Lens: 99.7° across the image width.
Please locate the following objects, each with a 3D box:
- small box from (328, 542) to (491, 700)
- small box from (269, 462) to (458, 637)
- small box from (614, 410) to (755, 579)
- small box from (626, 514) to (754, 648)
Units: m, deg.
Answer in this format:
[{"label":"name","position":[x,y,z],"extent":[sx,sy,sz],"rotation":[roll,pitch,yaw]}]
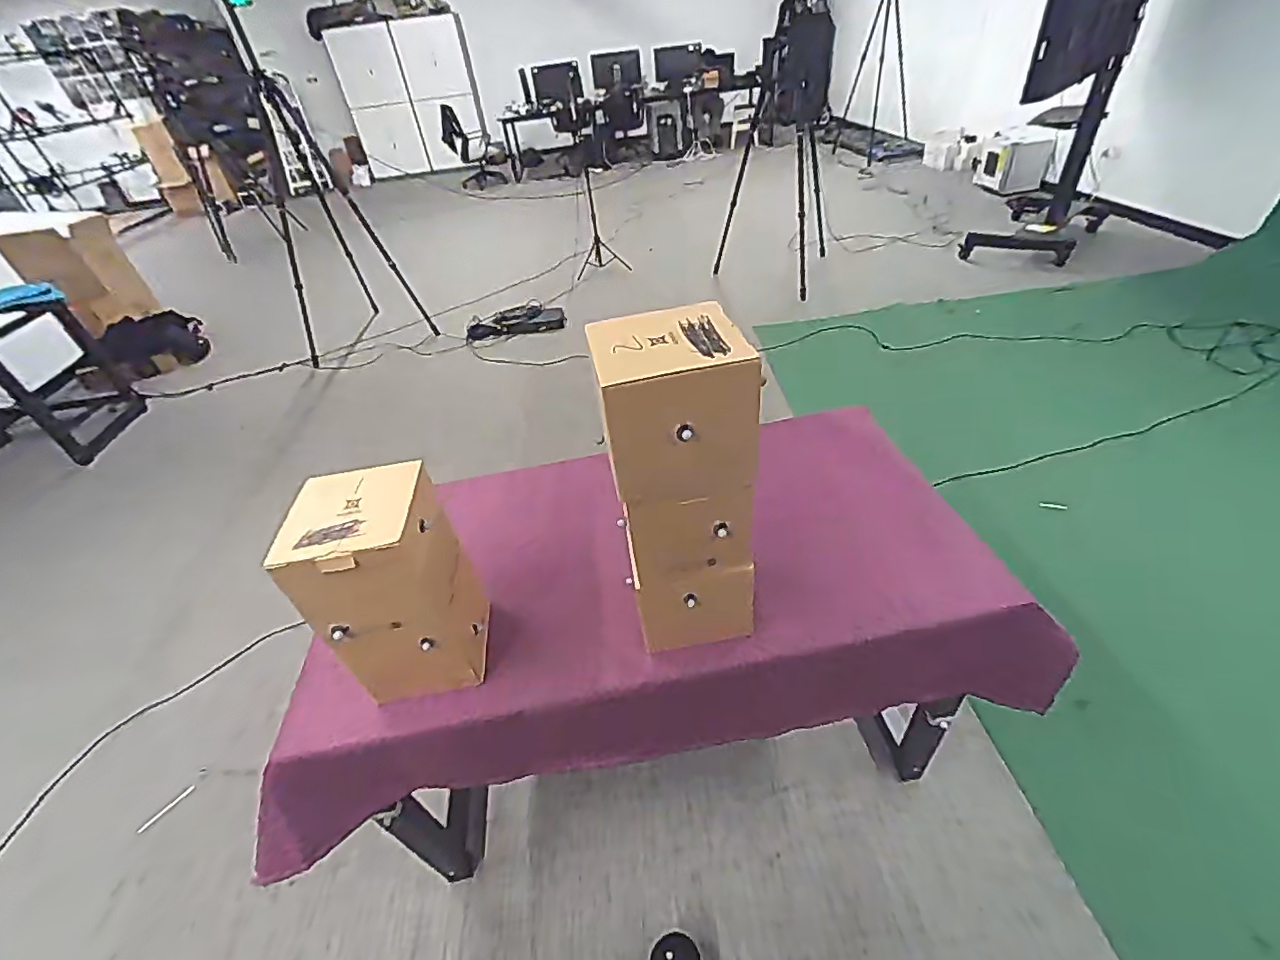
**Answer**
[{"label":"small box","position":[-0.354,0.228,0.868],"extent":[0.179,0.176,0.168],"rotation":[-10,40,-3]},{"label":"small box","position":[-0.370,0.102,0.764],"extent":[0.168,0.176,0.179],"rotation":[-10,38,-3]},{"label":"small box","position":[0.062,0.026,0.782],"extent":[0.168,0.176,0.179],"rotation":[-10,39,-3]},{"label":"small box","position":[0.080,0.153,0.882],"extent":[0.179,0.176,0.168],"rotation":[-9,41,-1]}]
